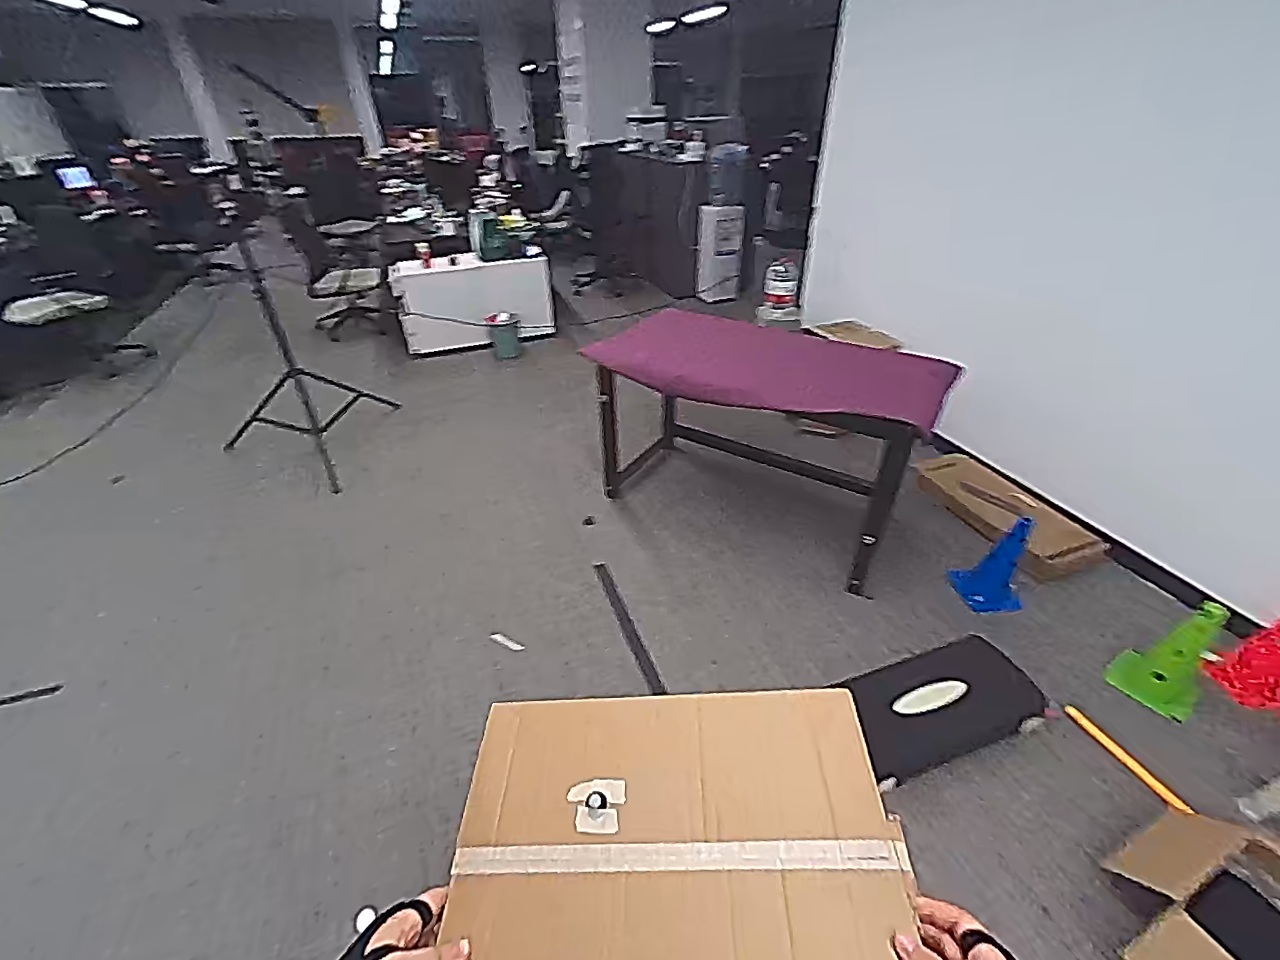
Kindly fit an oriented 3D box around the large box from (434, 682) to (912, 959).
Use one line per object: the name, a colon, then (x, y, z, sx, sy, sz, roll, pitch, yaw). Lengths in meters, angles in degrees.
large box: (0.043, 0.458, 0.597, 0.408, 0.320, 0.320, -7, 39, 7)
